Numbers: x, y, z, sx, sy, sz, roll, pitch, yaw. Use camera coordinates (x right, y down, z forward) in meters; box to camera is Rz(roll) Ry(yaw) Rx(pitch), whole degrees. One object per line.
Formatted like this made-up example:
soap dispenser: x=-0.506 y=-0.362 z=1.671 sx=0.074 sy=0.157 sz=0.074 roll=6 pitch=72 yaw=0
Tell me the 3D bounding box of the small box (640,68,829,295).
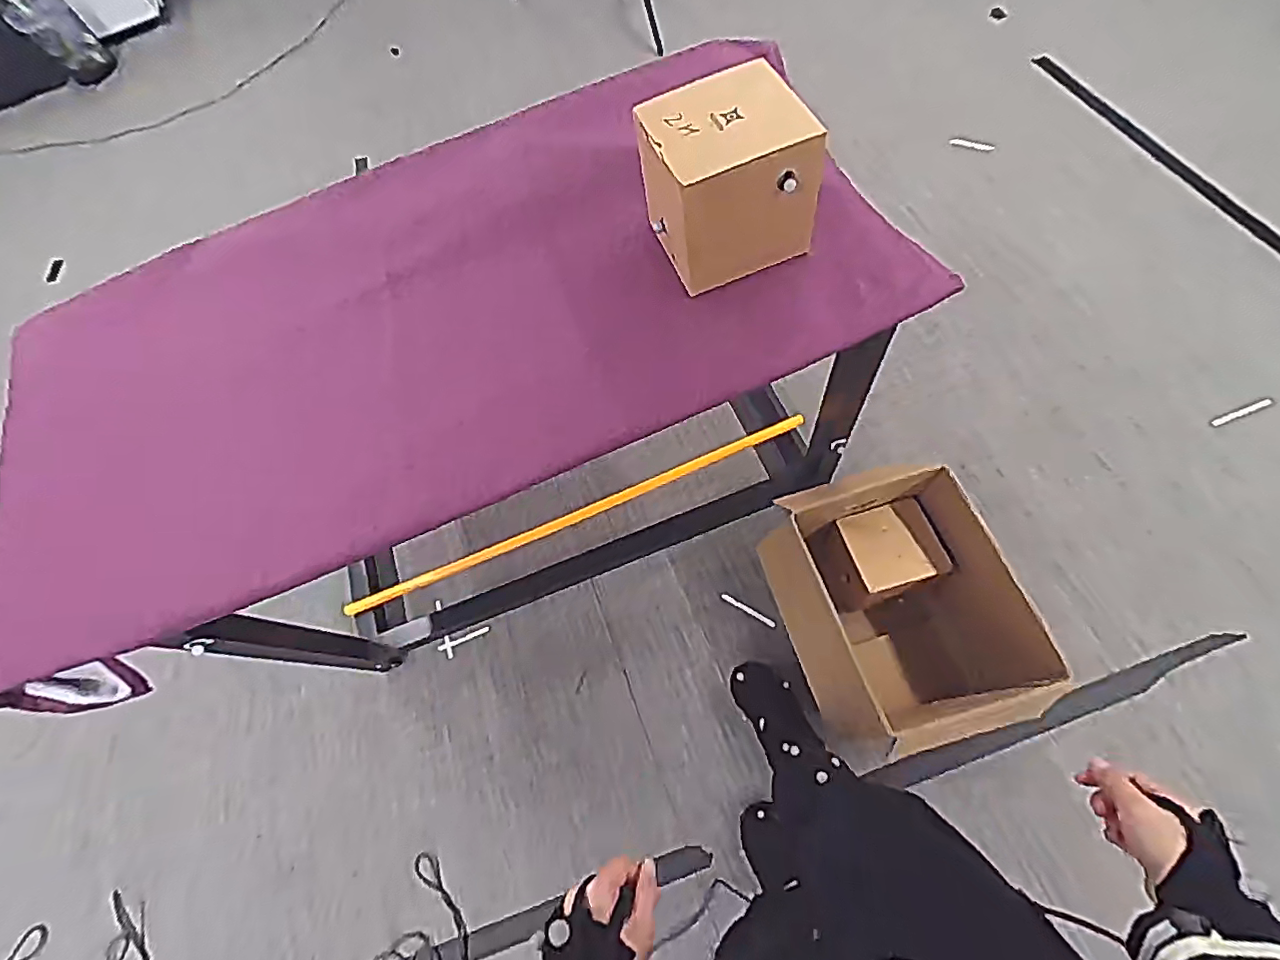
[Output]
small box: x=0.115 y=-0.377 z=0.702 sx=0.179 sy=0.176 sz=0.168 roll=-21 pitch=63 yaw=-1
